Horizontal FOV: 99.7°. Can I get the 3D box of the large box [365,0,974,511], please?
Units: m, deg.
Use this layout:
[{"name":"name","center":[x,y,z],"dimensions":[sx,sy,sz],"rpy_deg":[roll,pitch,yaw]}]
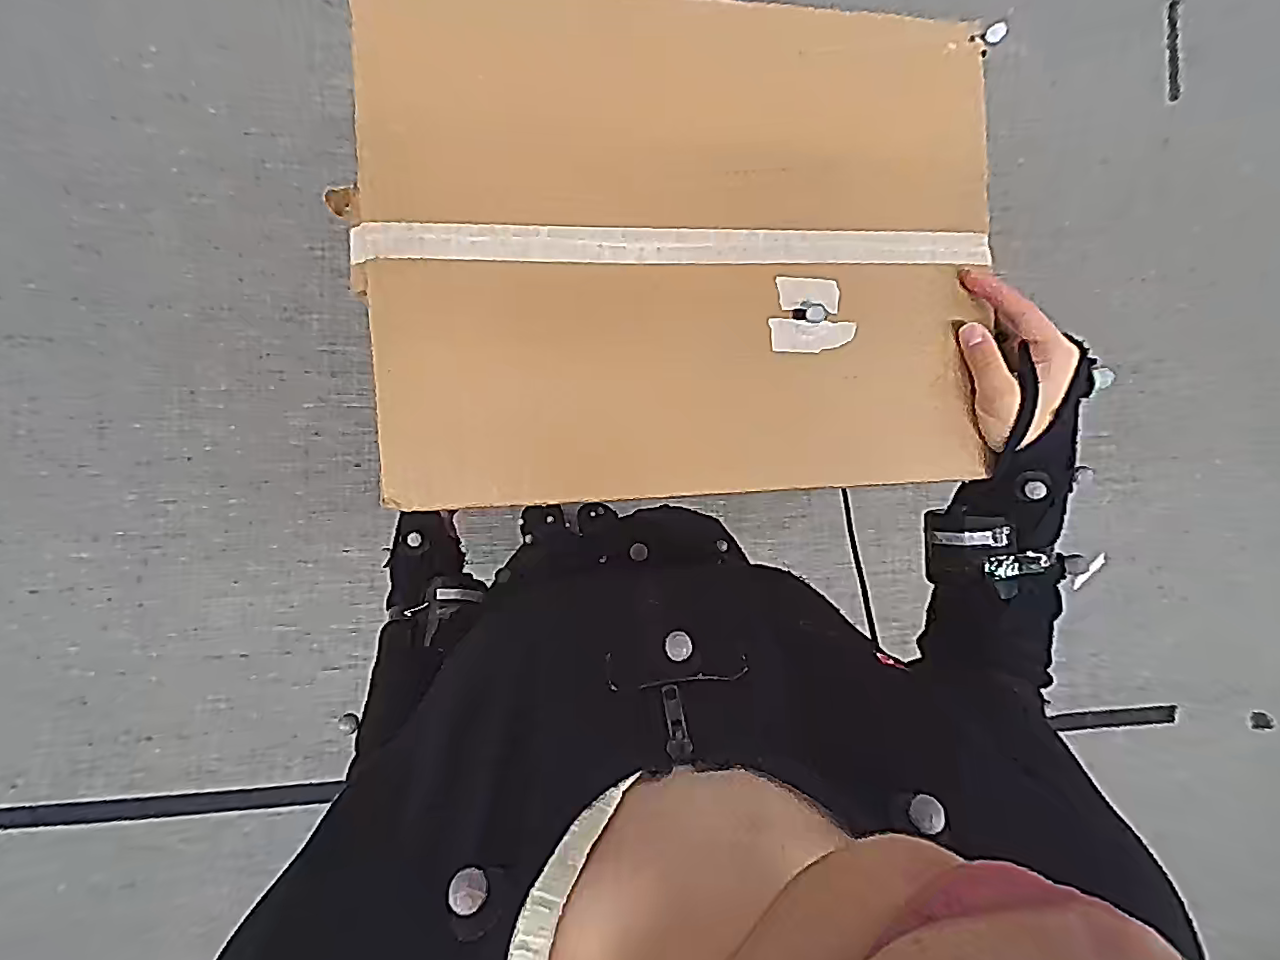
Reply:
[{"name":"large box","center":[0.014,-0.150,0.501],"dimensions":[0.408,0.320,0.320],"rpy_deg":[-3,92,-10]}]
